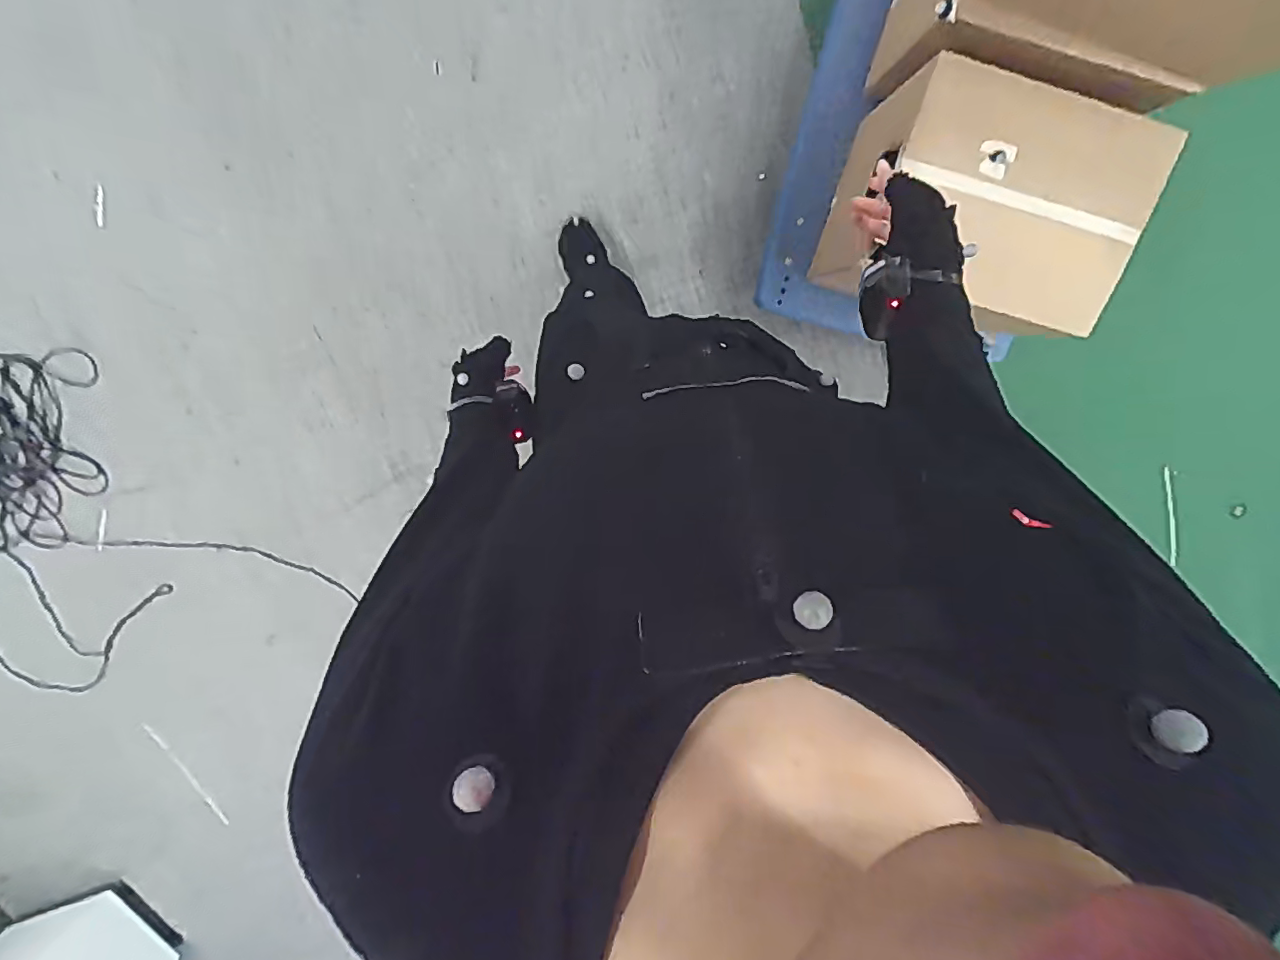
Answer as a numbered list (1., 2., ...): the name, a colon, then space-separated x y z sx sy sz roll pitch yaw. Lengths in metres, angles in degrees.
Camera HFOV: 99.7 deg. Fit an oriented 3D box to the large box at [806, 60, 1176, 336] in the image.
1. large box: 0.575 -0.469 0.978 0.408 0.320 0.320 15 107 -3
